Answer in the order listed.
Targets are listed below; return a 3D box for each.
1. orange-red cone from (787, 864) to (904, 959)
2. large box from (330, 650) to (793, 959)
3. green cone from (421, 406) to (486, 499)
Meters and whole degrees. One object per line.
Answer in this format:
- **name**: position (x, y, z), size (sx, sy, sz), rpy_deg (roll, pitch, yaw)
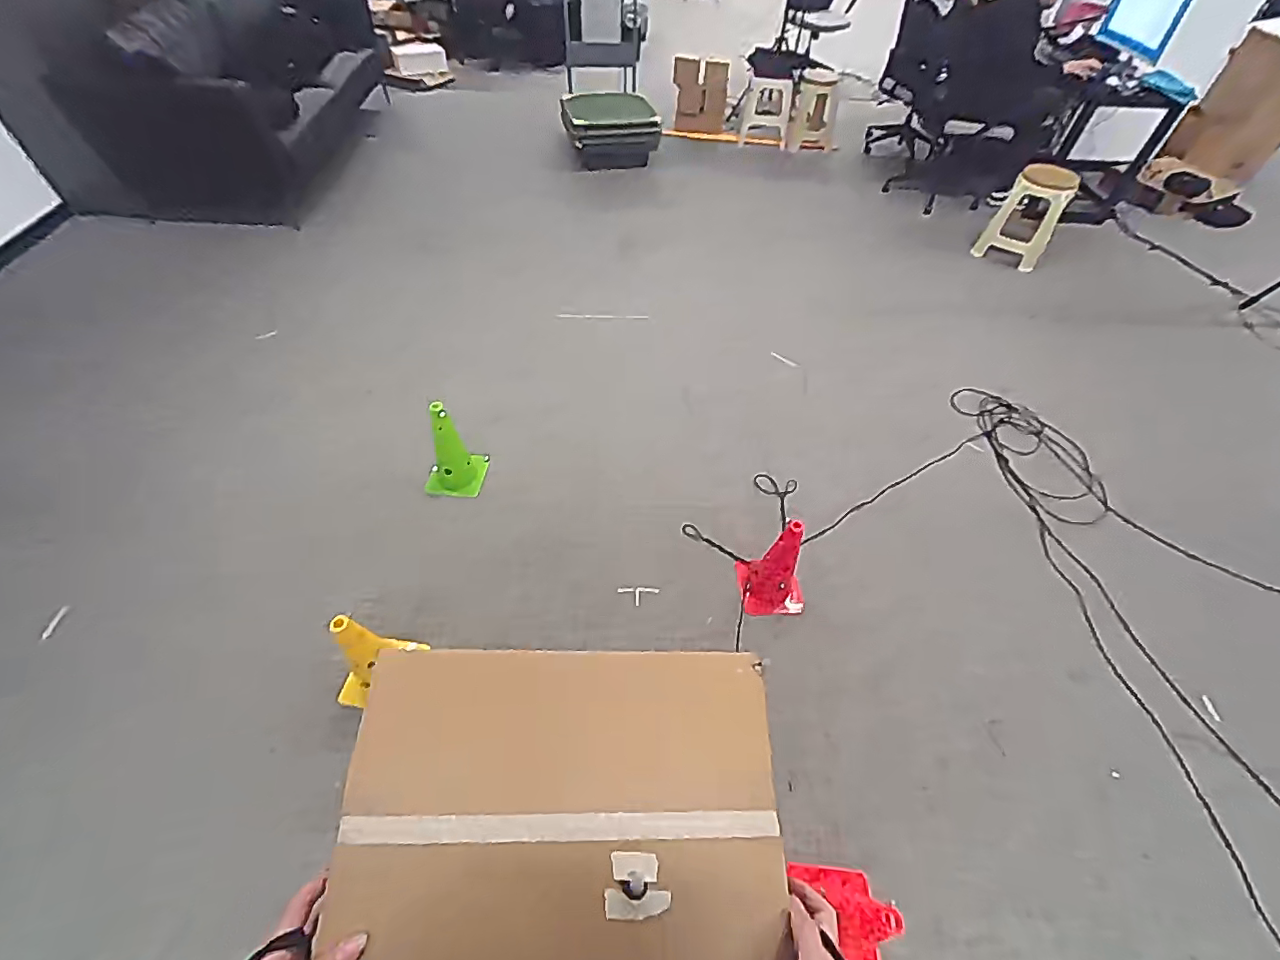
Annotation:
- **orange-red cone**: position (0.452, 0.916, 1.120), size (0.199, 0.360, 0.198), rpy_deg (7, 52, 0)
- **large box**: position (-0.078, 0.394, 0.643), size (0.408, 0.320, 0.320), rpy_deg (1, 62, -4)
- **green cone**: position (-0.688, -0.122, 1.888), size (0.200, 0.368, 0.202), rpy_deg (5, 52, 1)
